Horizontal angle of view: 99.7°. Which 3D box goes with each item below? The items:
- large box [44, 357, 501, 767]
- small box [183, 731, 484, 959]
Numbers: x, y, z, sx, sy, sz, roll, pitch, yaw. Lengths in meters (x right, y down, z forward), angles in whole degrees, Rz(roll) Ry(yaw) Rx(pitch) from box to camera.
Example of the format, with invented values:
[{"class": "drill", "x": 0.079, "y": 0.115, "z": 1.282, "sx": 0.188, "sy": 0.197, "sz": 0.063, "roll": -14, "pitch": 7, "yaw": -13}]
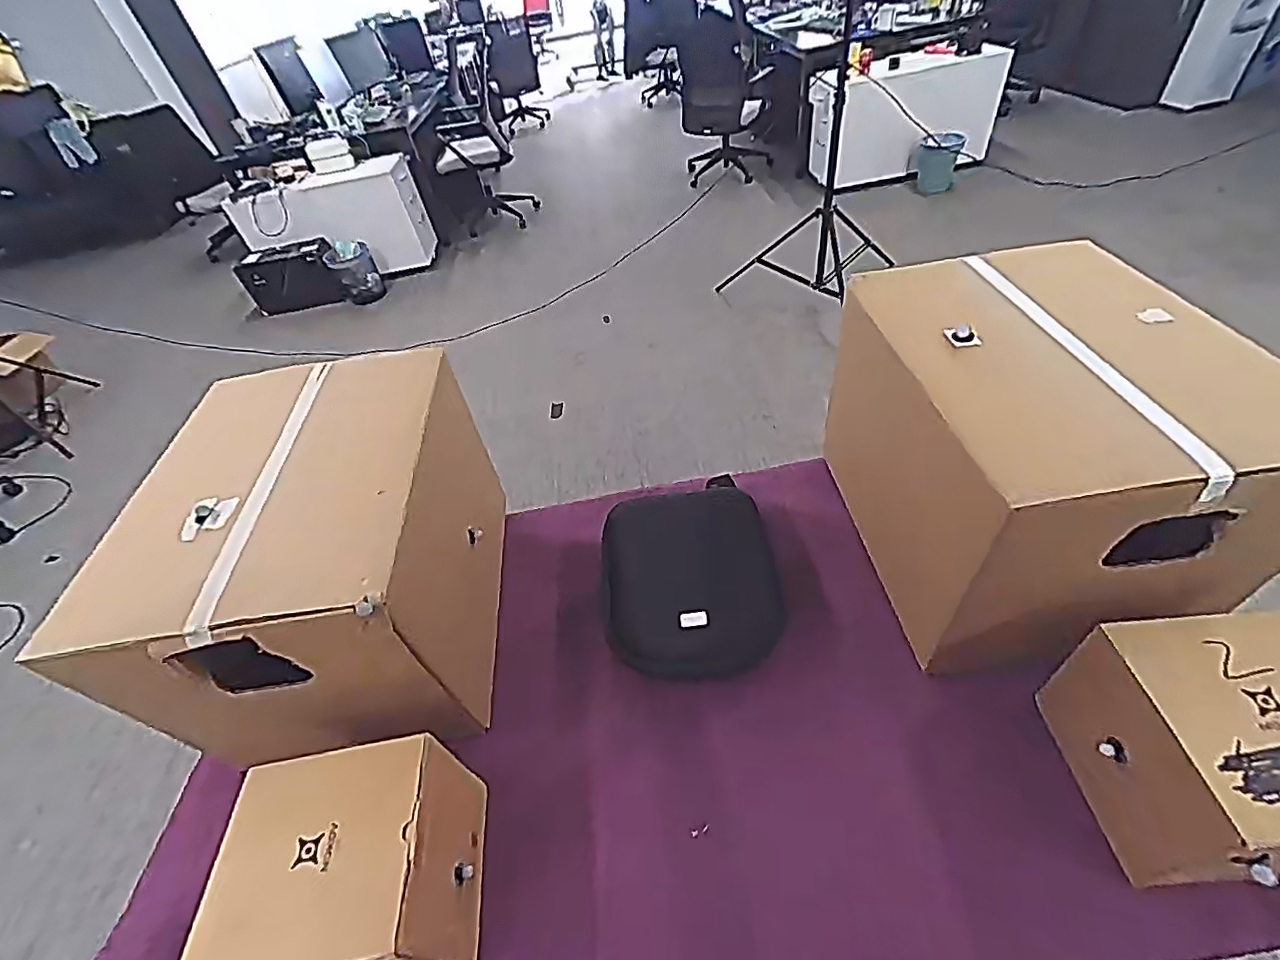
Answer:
[{"class": "large box", "x": -0.375, "y": 0.098, "z": 0.705, "sx": 0.320, "sy": 0.320, "sz": 0.408, "roll": -10, "pitch": 47, "yaw": -1}, {"class": "small box", "x": -0.267, "y": 0.371, "z": 0.518, "sx": 0.179, "sy": 0.176, "sz": 0.168, "roll": -11, "pitch": 44, "yaw": -1}]
